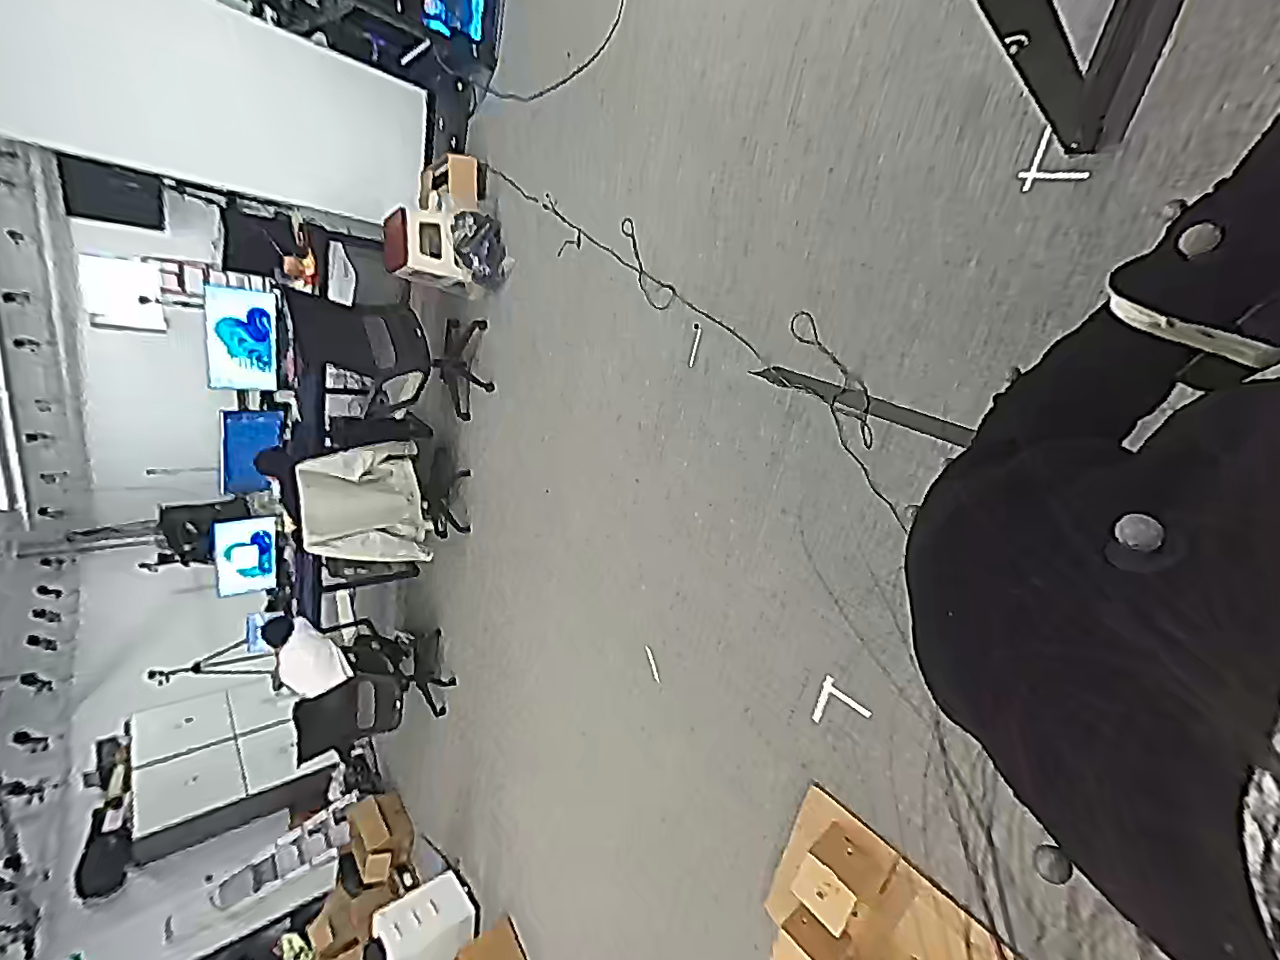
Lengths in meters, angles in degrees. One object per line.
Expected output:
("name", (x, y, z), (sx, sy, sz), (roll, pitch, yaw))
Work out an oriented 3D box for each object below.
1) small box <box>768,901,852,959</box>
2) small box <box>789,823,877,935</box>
("small box", (0.539, 1.489, 1.716), (0.179, 0.176, 0.168), (24, 113, 44))
("small box", (0.585, 1.195, 1.632), (0.168, 0.176, 0.179), (30, 114, 41))
